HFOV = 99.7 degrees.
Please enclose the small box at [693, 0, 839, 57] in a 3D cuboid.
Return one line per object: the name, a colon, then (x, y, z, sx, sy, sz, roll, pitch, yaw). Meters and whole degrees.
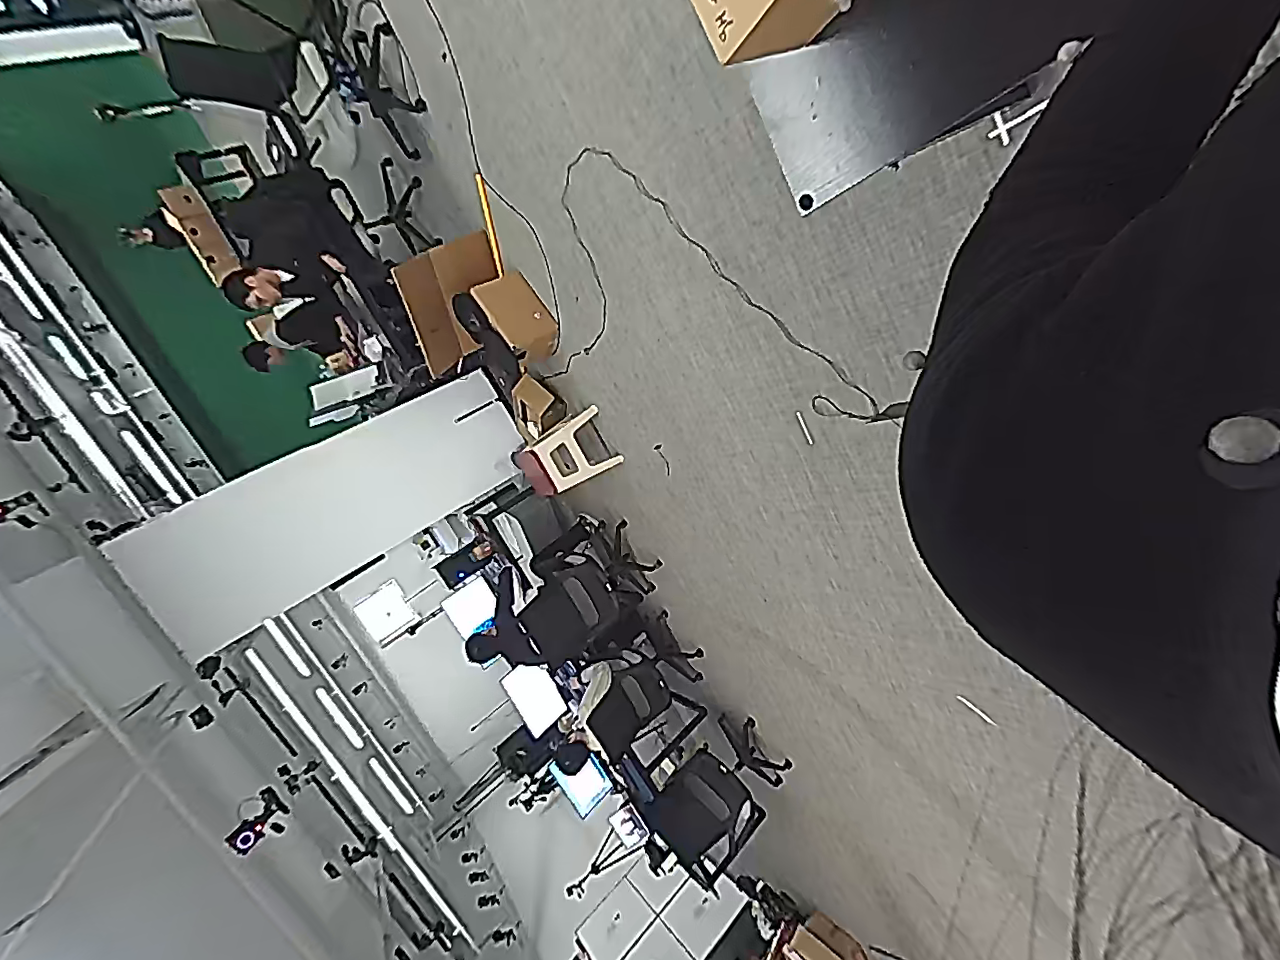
small box: (0.154, -0.607, 0.577, 0.179, 0.176, 0.168, -12, 110, 59)
